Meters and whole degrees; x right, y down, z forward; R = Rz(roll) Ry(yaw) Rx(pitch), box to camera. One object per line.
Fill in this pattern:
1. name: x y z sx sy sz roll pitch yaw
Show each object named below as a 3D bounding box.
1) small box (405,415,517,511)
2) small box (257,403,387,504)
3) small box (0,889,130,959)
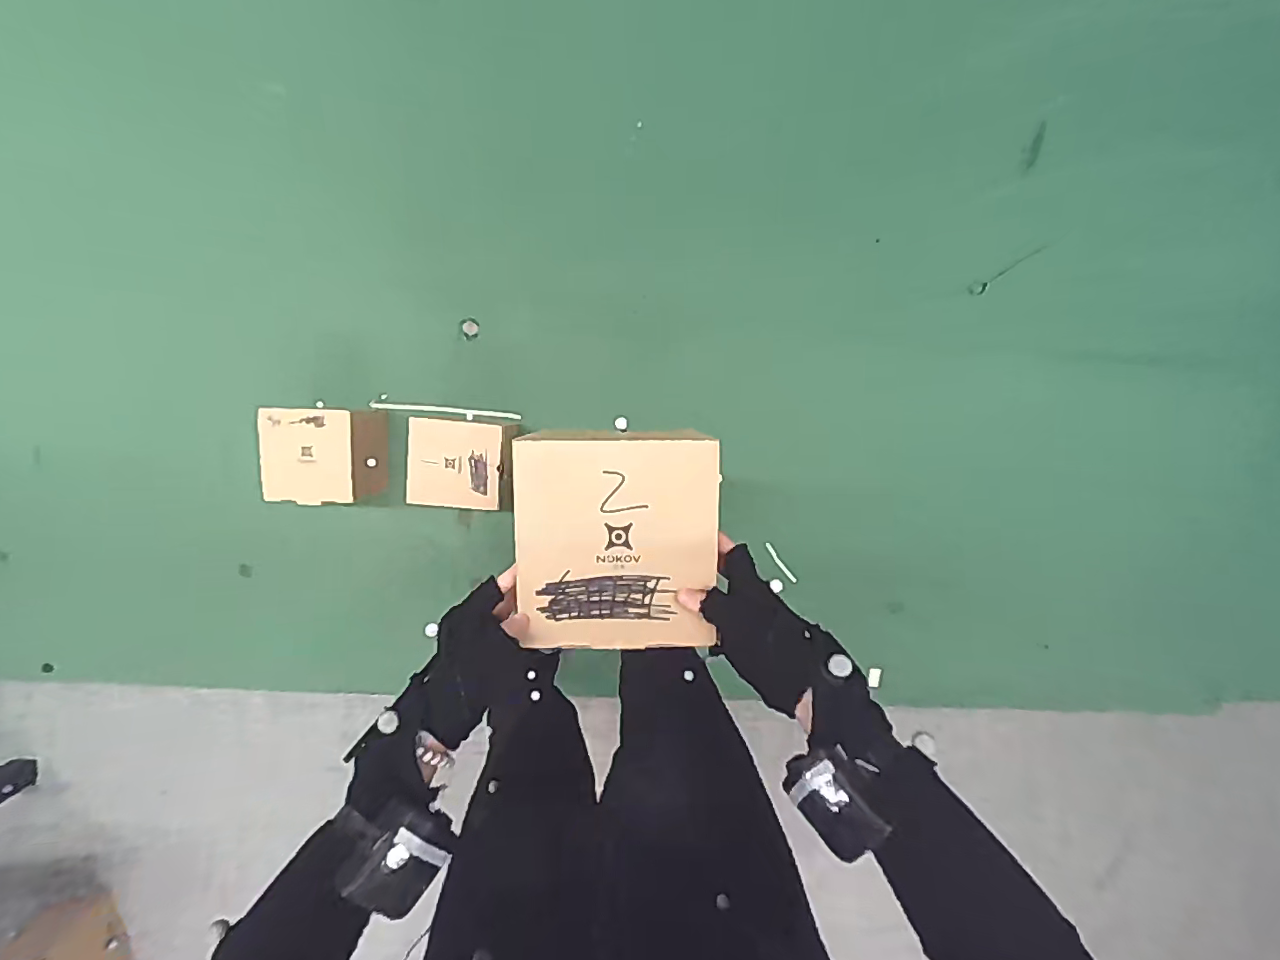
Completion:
1. small box: -0.350 -0.041 1.086 0.179 0.176 0.168 5 98 -4
2. small box: -0.616 -0.058 1.069 0.168 0.176 0.179 2 99 -3
3. small box: -1.301 1.055 1.193 0.179 0.176 0.168 -9 99 -1
